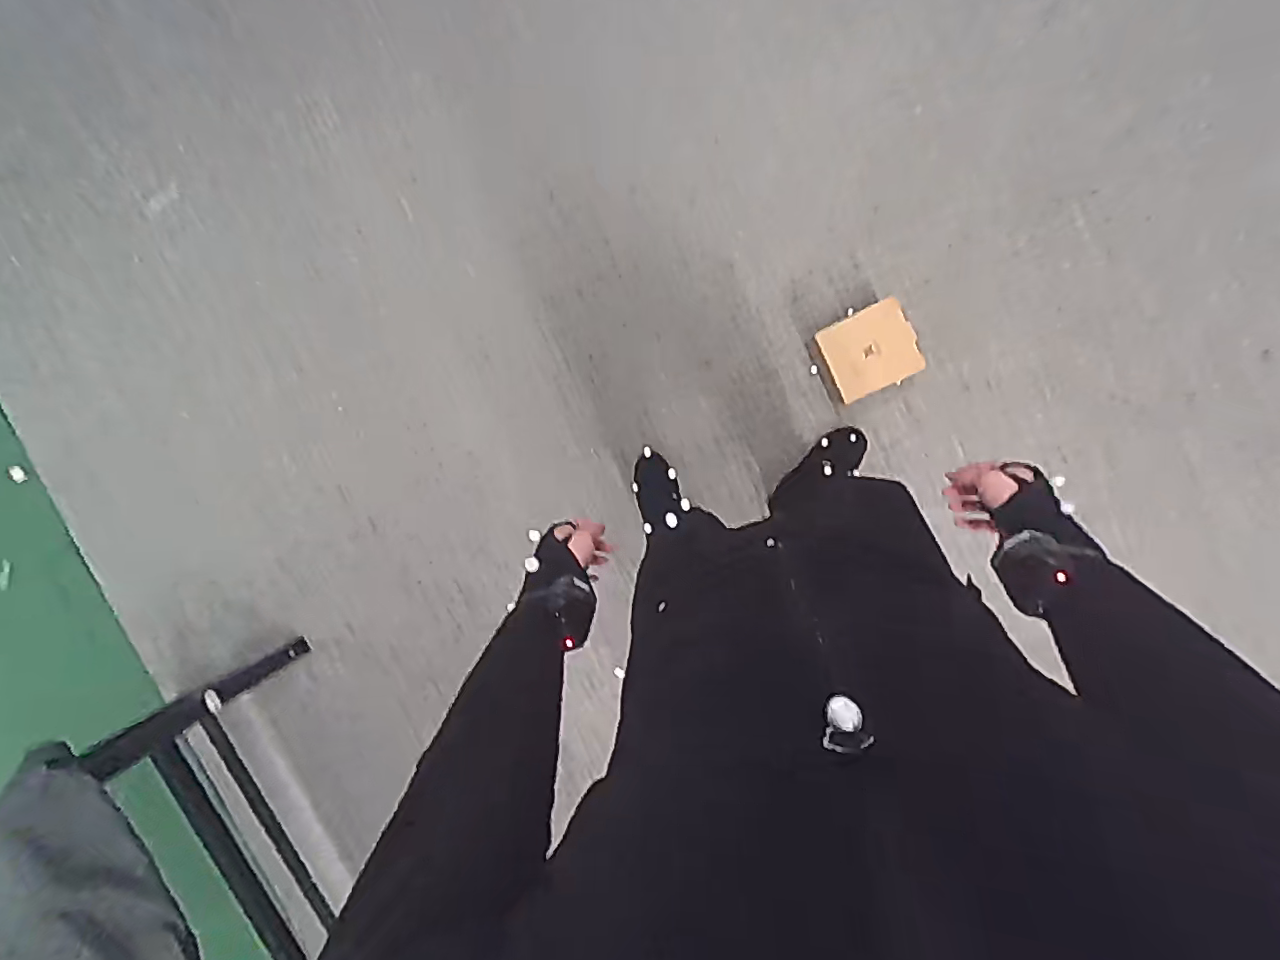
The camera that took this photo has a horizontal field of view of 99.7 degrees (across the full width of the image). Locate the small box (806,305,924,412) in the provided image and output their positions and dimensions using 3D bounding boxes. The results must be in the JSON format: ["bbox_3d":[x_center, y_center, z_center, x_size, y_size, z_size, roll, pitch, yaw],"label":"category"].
[{"bbox_3d":[0.488,-0.264,1.199,0.179,0.176,0.168,-24,94,13],"label":"small box"}]
